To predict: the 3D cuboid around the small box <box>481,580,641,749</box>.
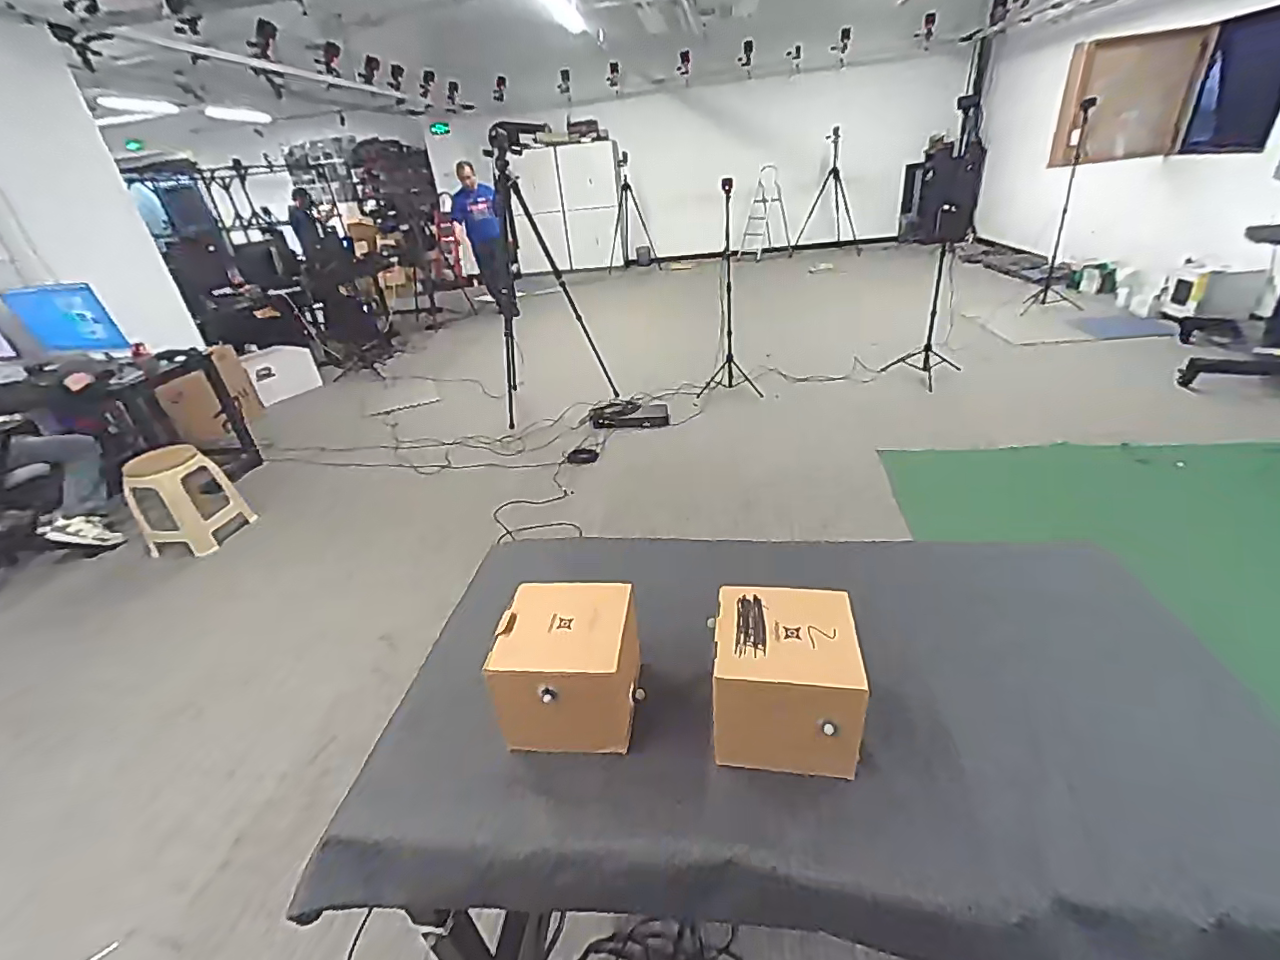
[{"bbox_3d":[-0.101,0.263,0.781,0.179,0.176,0.168,-1,31,8],"label":"small box"}]
